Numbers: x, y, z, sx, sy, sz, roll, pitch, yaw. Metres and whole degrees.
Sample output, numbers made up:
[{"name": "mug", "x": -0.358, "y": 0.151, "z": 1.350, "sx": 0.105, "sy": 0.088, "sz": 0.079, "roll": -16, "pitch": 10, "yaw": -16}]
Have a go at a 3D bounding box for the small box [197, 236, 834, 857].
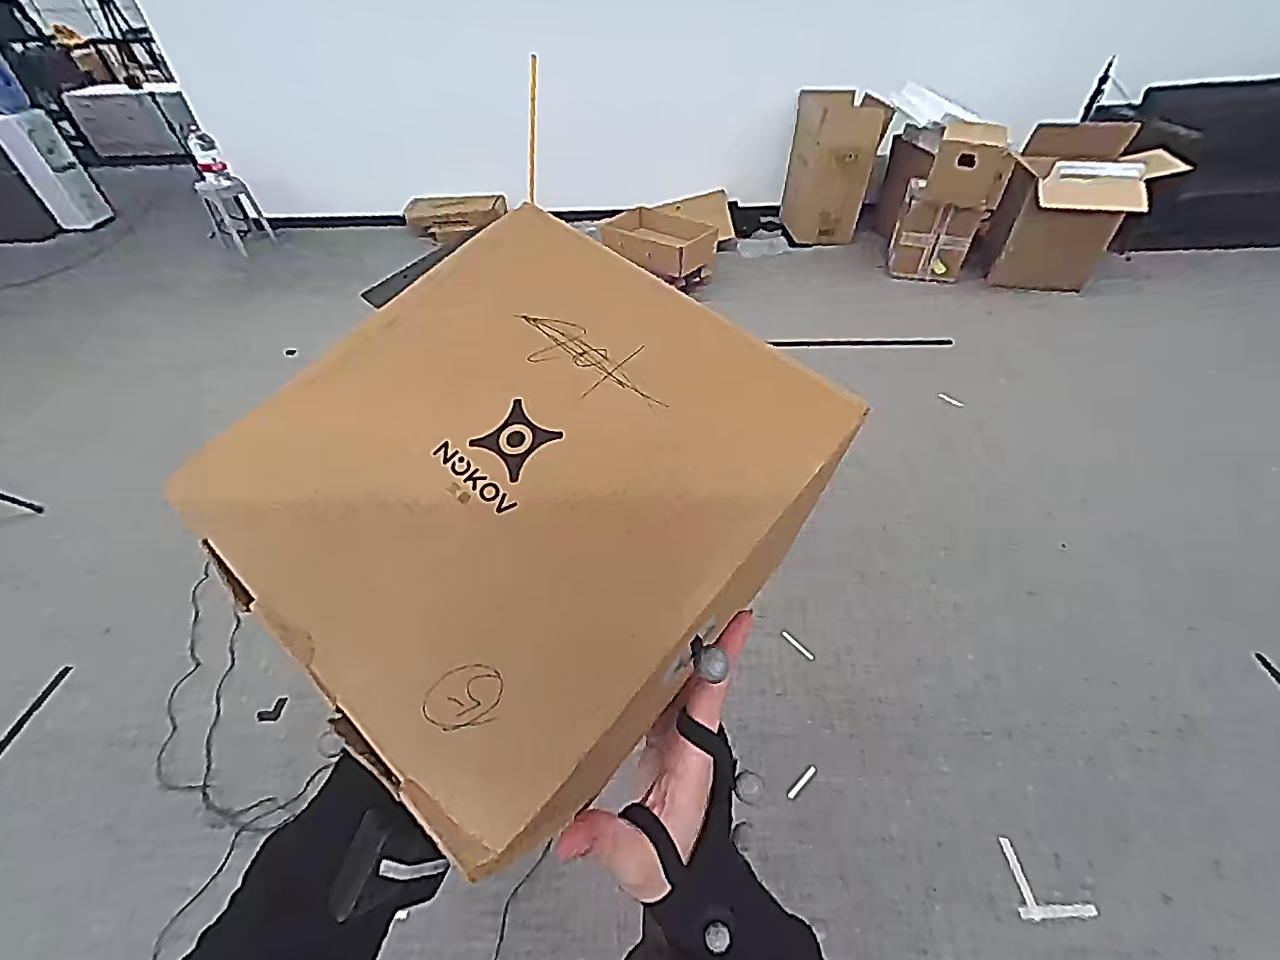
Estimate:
[{"name": "small box", "x": -0.040, "y": 0.030, "z": 0.264, "sx": 0.168, "sy": 0.176, "sz": 0.179, "roll": 37, "pitch": 72, "yaw": 18}]
